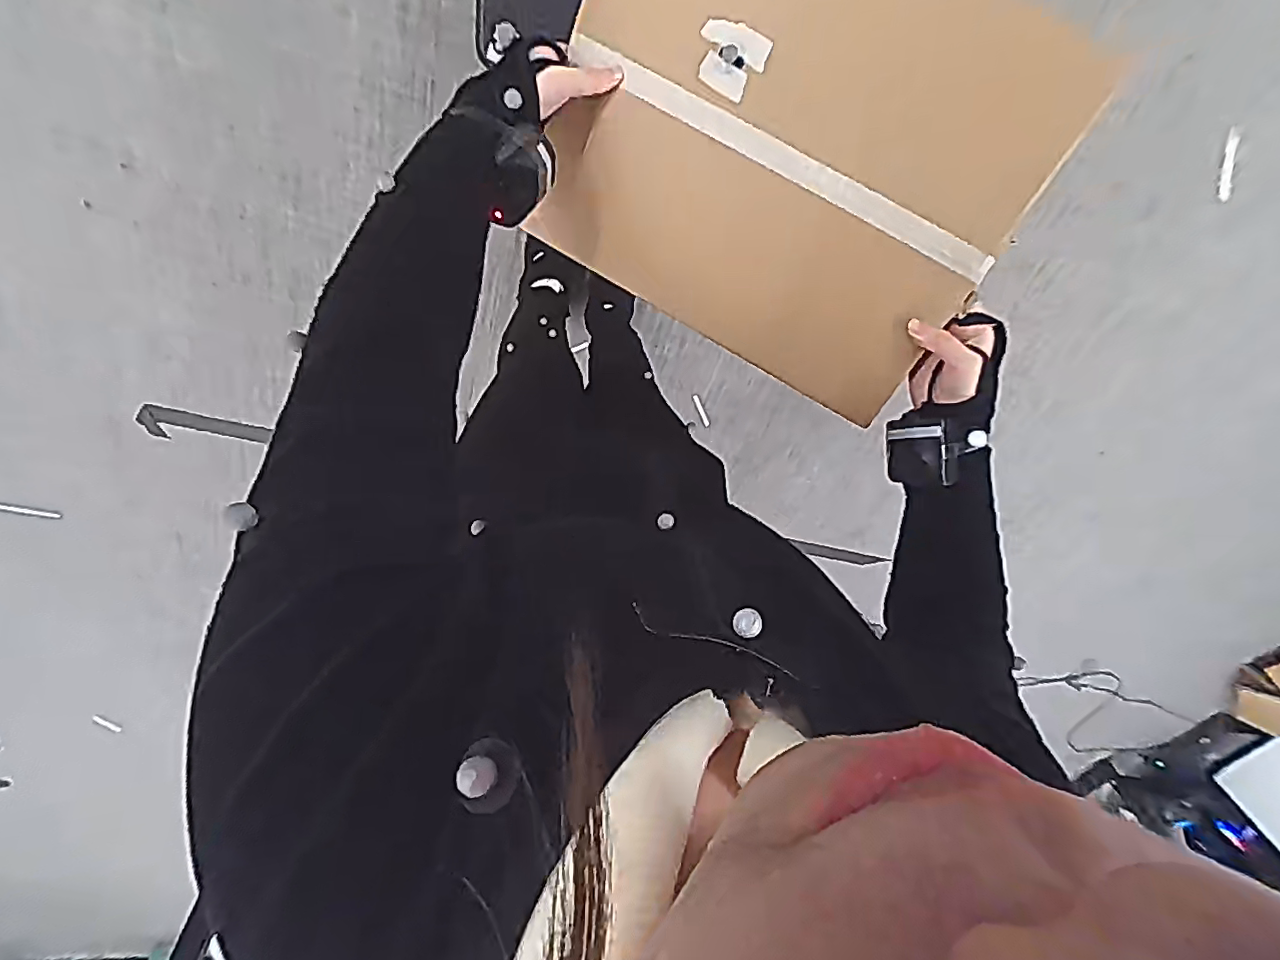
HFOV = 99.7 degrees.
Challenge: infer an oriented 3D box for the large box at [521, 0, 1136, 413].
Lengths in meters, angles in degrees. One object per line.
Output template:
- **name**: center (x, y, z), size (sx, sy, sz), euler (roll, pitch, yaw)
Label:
- **large box**: center (0.158, -0.327, 0.588), size (0.408, 0.320, 0.320), euler (32, 115, 5)
